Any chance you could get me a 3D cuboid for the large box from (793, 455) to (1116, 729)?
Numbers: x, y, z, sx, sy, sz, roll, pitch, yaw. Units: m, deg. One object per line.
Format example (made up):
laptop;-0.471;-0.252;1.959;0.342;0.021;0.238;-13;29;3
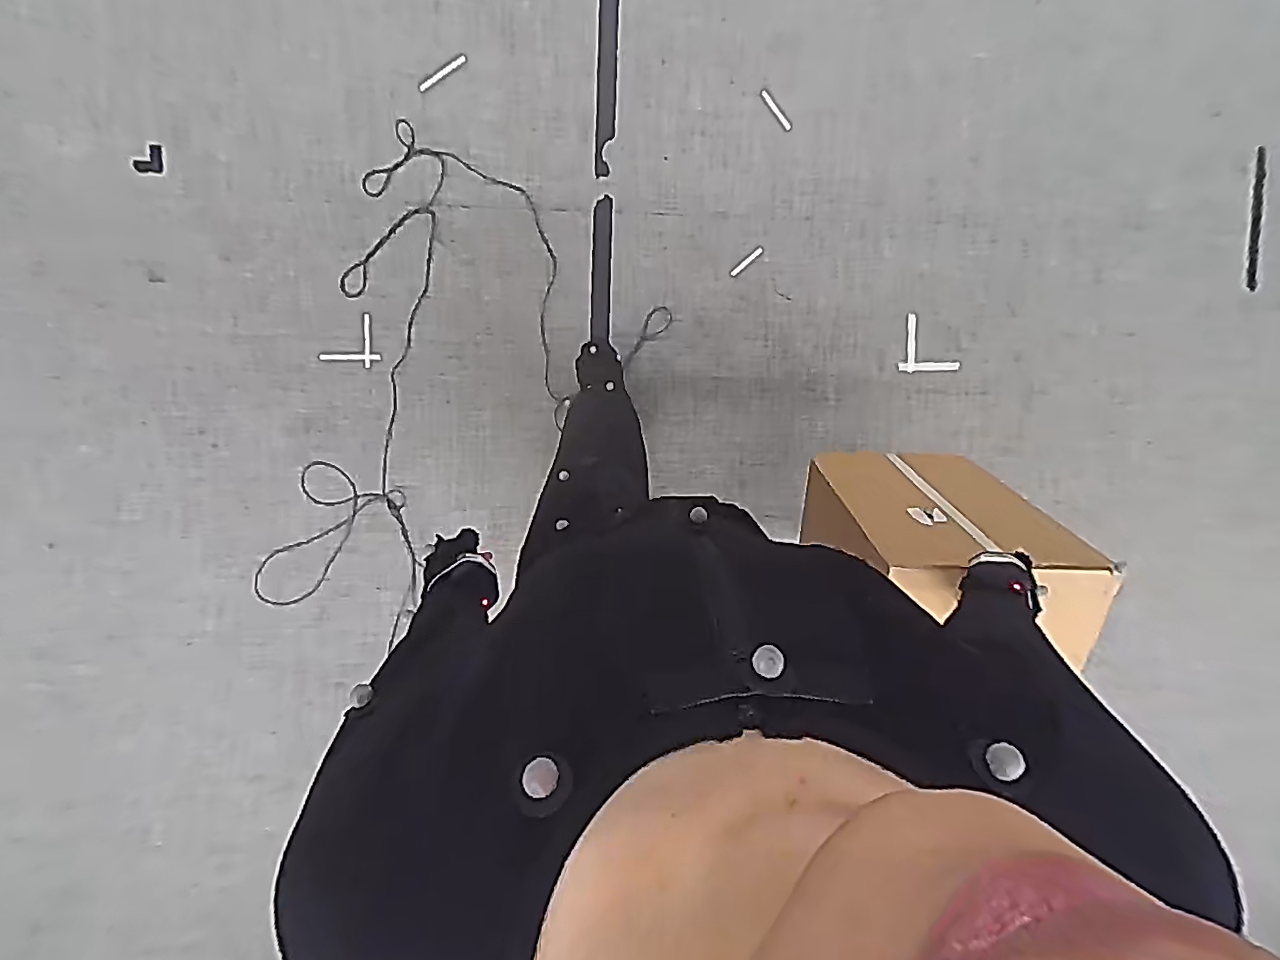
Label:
large box;0.496;0.176;0.977;0.320;0.408;0.320;0;115;1
